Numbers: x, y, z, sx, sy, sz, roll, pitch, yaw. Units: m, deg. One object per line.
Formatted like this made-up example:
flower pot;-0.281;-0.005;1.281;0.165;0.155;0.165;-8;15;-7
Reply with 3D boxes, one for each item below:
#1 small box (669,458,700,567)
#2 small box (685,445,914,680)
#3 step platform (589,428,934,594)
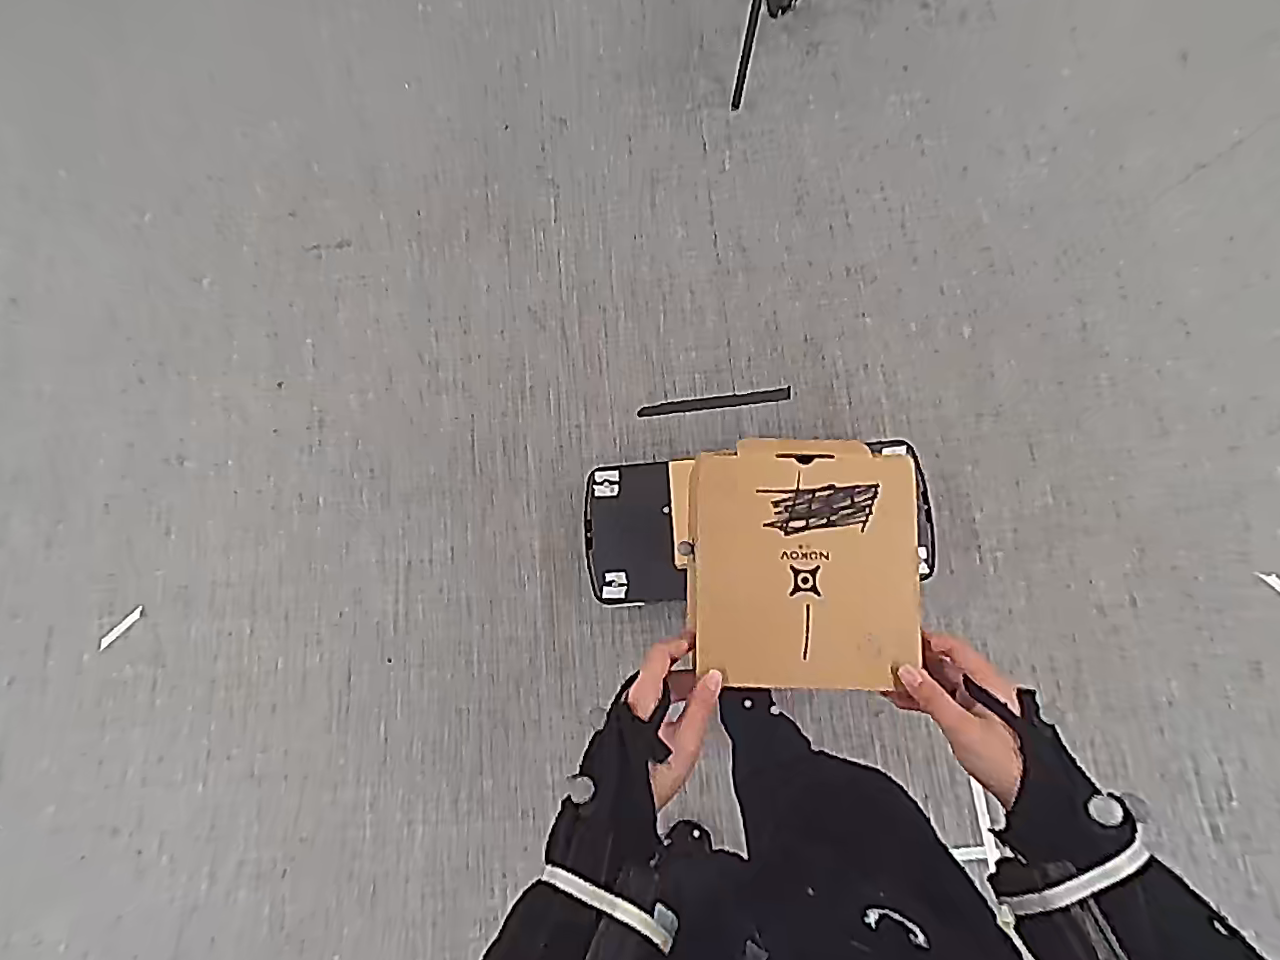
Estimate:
small box;0.138;0.062;0.968;0.168;0.176;0.179;-4;79;5
small box;0.128;0.070;0.494;0.168;0.176;0.179;1;83;3
step platform;0.234;0.072;1.136;0.684;0.204;0.286;-6;78;4
